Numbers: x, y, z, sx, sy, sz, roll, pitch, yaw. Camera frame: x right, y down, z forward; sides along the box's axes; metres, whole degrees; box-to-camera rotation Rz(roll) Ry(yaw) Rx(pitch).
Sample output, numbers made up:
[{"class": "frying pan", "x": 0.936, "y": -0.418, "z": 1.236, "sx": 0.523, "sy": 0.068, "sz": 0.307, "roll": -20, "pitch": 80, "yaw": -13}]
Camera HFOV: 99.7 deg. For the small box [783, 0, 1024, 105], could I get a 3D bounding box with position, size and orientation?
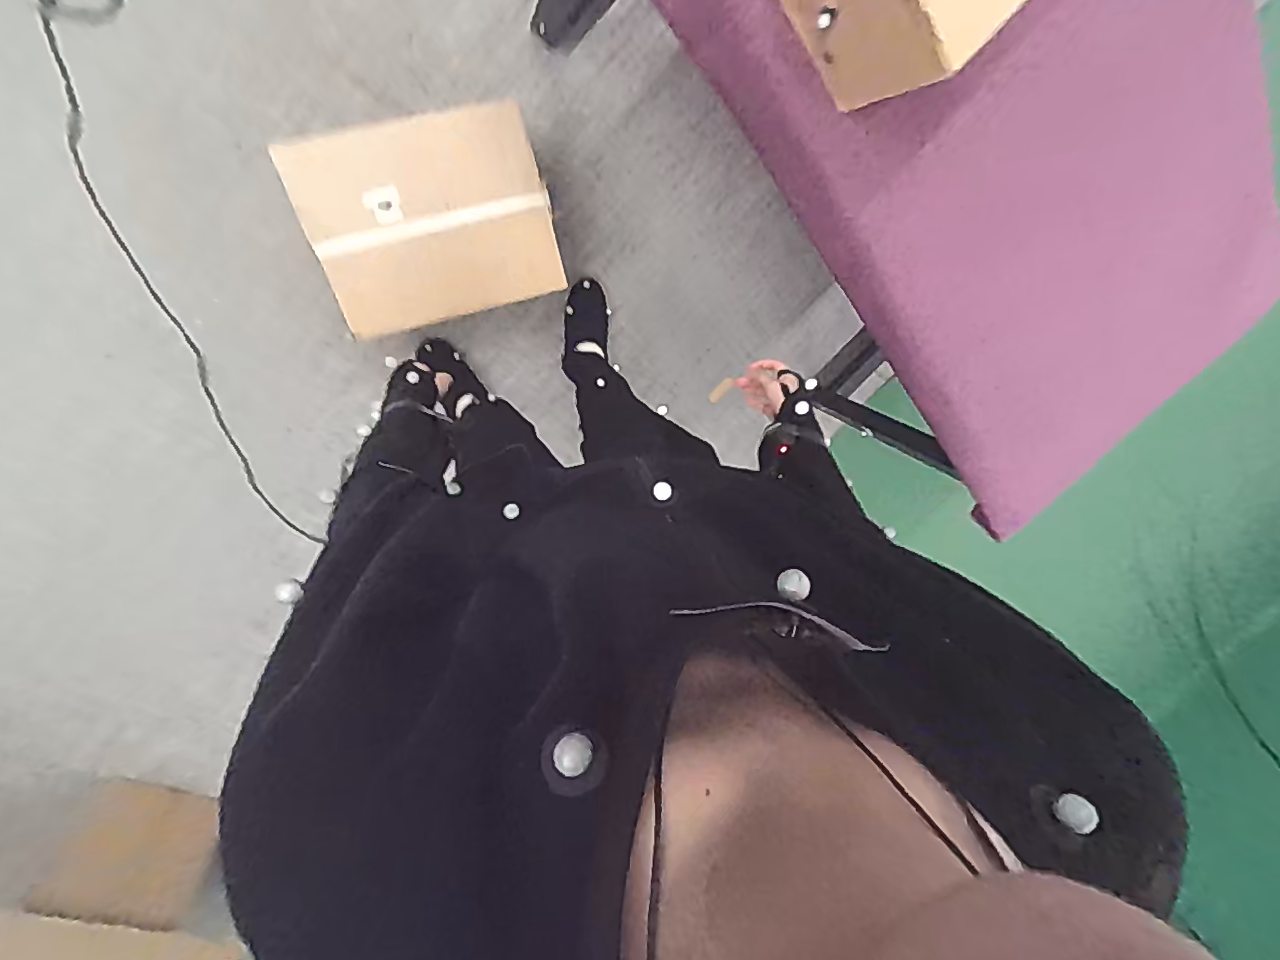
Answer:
[{"class": "small box", "x": 0.264, "y": -0.505, "z": 0.511, "sx": 0.179, "sy": 0.176, "sz": 0.168, "roll": -46, "pitch": 118, "yaw": 6}]
